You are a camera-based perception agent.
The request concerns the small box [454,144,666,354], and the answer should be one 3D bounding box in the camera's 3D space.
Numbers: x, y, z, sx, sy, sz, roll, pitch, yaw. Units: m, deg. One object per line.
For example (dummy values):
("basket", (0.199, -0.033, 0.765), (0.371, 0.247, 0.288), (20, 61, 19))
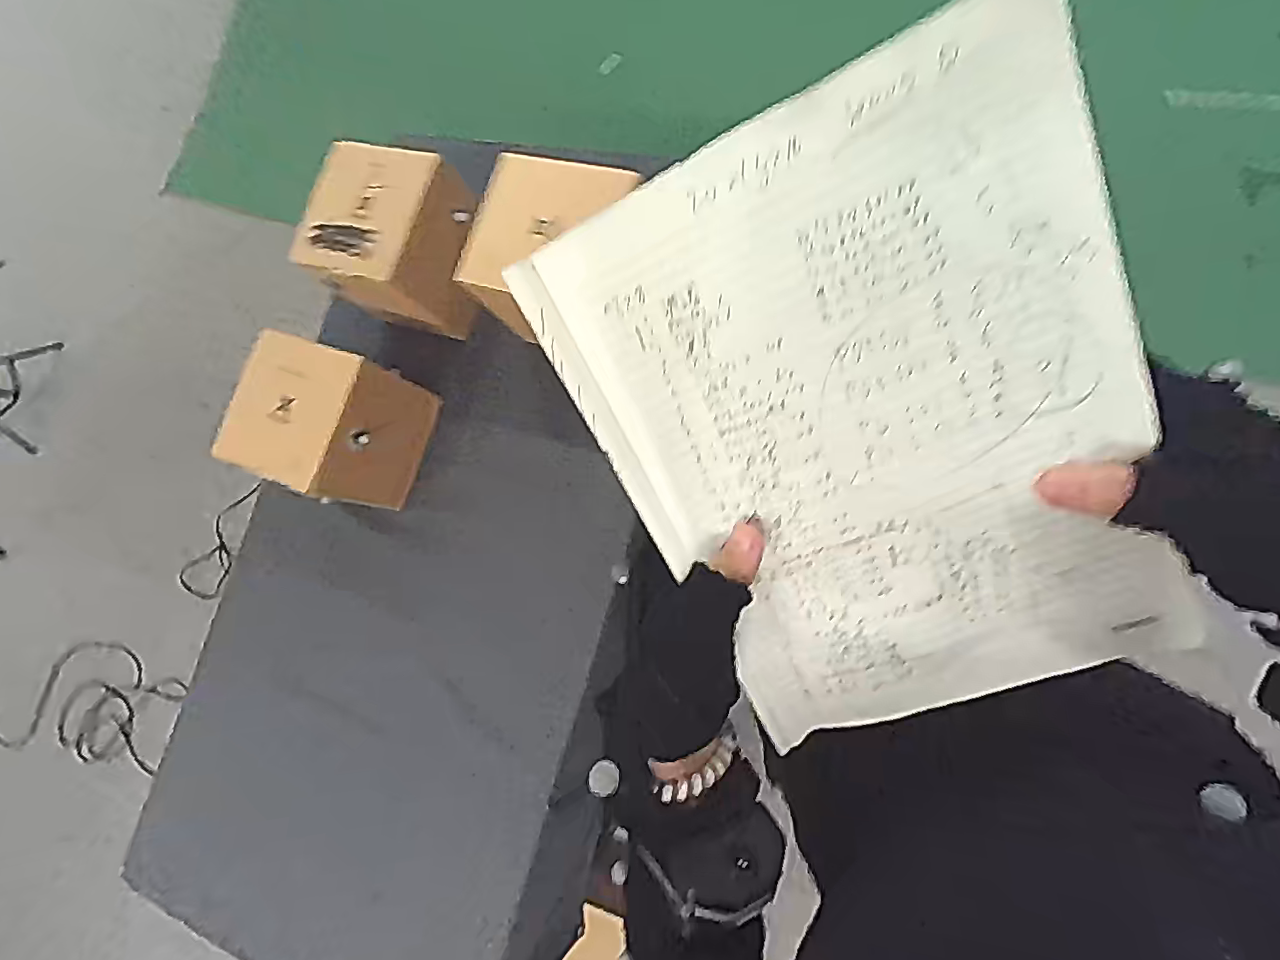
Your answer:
("small box", (-0.087, -0.274, 0.670), (0.179, 0.176, 0.168), (19, 86, 17))
